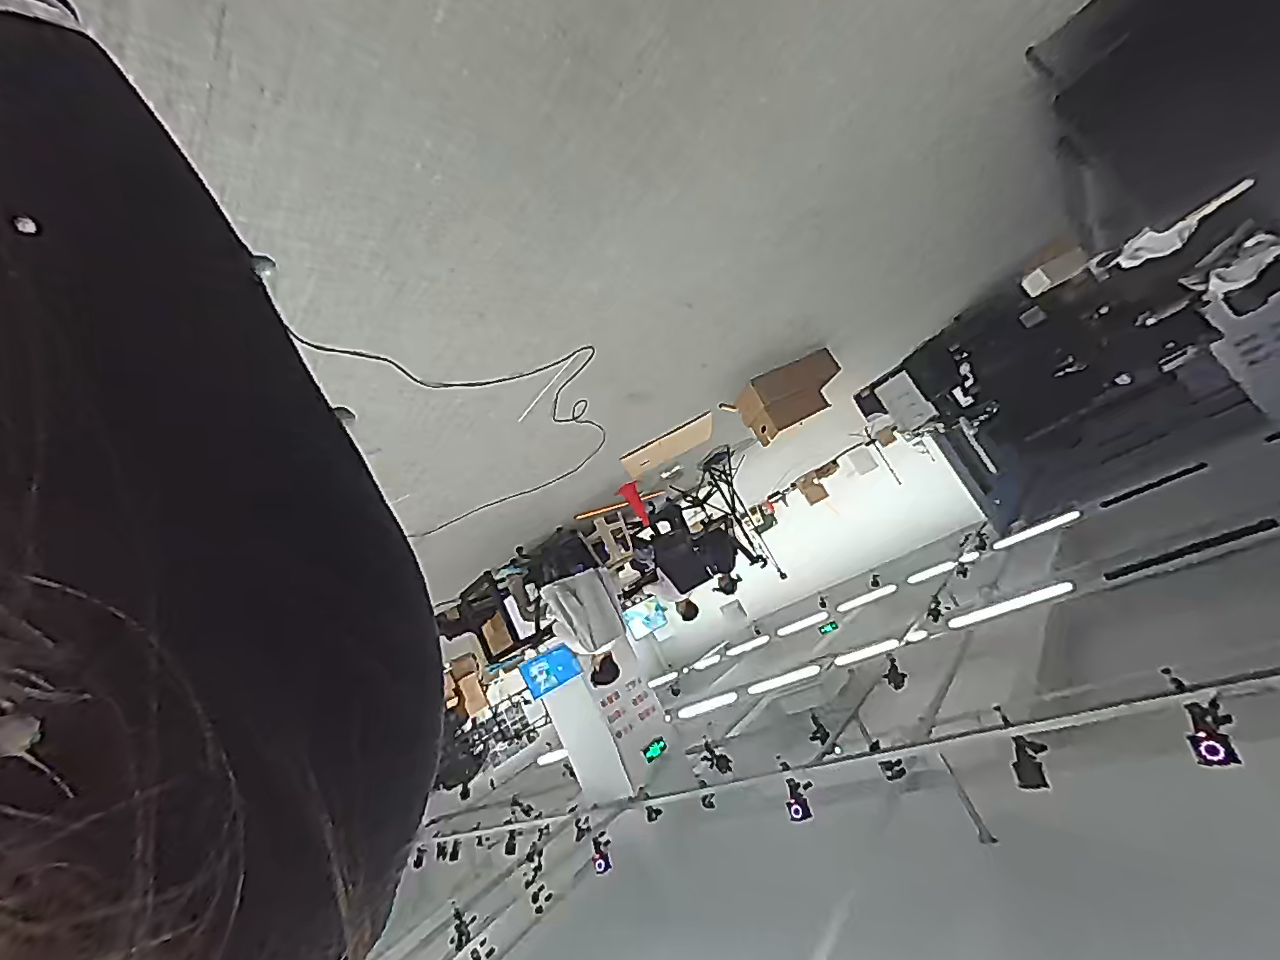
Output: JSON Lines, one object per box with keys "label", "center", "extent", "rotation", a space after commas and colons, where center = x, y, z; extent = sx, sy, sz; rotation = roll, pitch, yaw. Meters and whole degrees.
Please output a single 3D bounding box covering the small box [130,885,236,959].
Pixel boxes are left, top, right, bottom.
{"label": "small box", "center": [-1.144, 1.152, 1.349], "extent": [0.168, 0.176, 0.179], "rotation": [-13, 161, -49]}
